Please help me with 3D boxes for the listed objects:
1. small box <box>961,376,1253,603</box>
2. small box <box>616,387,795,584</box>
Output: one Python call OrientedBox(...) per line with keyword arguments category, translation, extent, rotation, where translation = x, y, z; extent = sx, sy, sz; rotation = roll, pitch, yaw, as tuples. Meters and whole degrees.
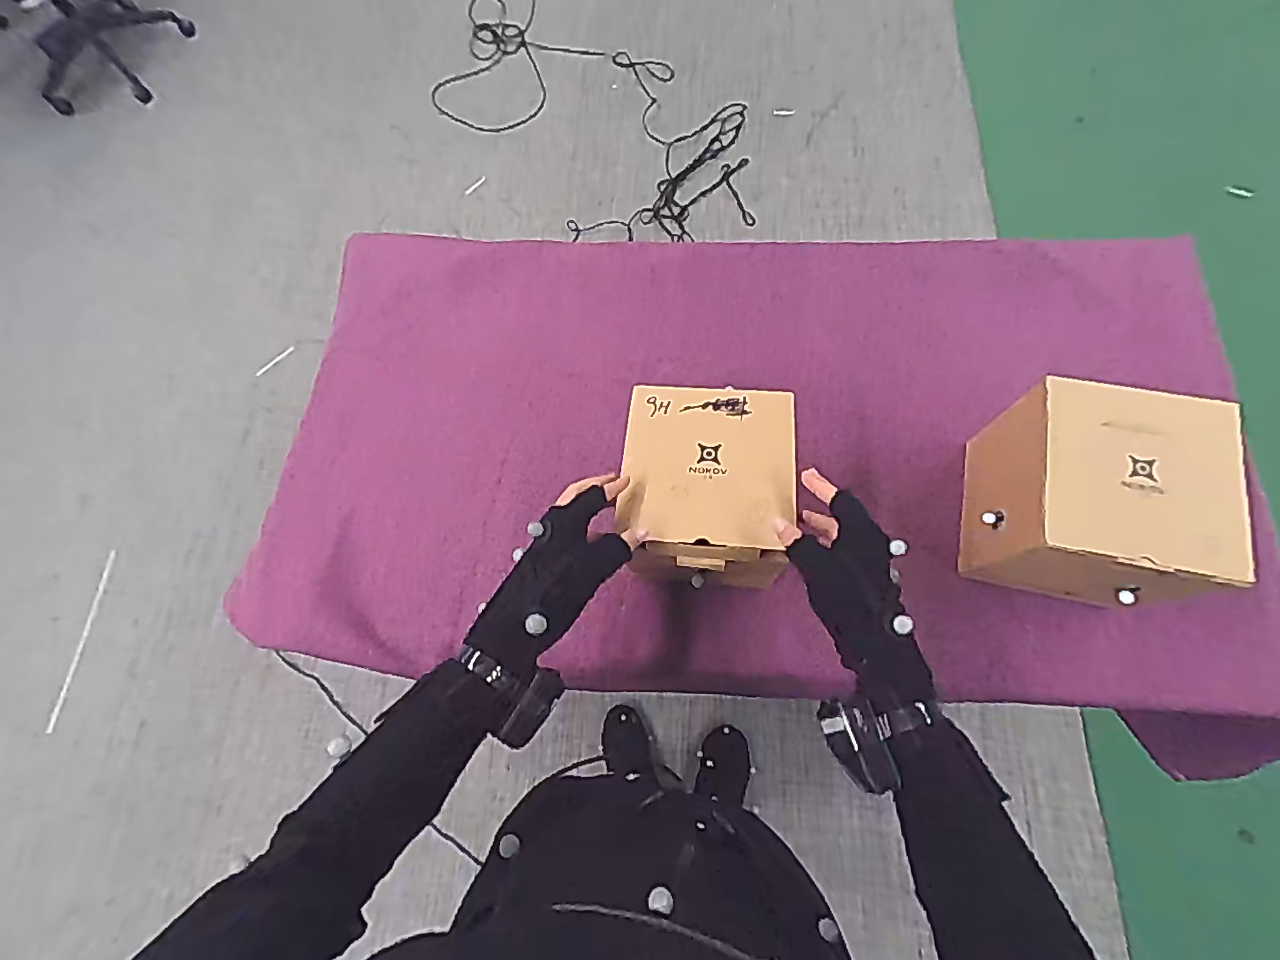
OrientedBox(category="small box", translation=(0.460, 0.020, 0.563), extent=(0.168, 0.176, 0.179), rotation=(12, 72, 10))
OrientedBox(category="small box", translation=(0.074, 0.015, 0.603), extent=(0.168, 0.176, 0.179), rotation=(4, 72, 7))
